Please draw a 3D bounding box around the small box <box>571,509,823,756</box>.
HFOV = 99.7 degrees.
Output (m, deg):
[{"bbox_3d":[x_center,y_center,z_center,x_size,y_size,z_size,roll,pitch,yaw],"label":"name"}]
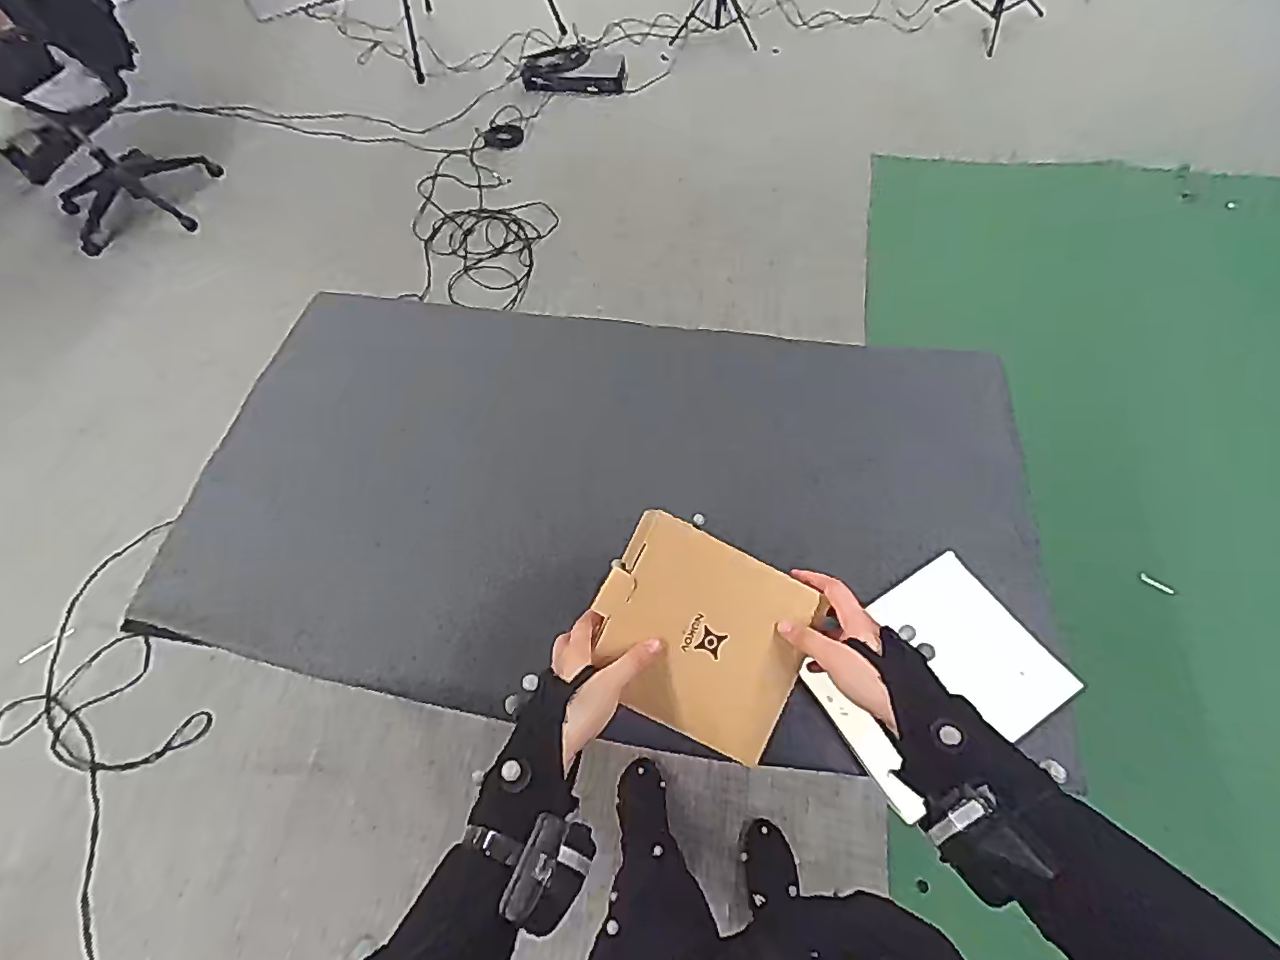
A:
[{"bbox_3d":[0.050,0.135,0.553,0.179,0.176,0.168,26,87,0],"label":"small box"}]
